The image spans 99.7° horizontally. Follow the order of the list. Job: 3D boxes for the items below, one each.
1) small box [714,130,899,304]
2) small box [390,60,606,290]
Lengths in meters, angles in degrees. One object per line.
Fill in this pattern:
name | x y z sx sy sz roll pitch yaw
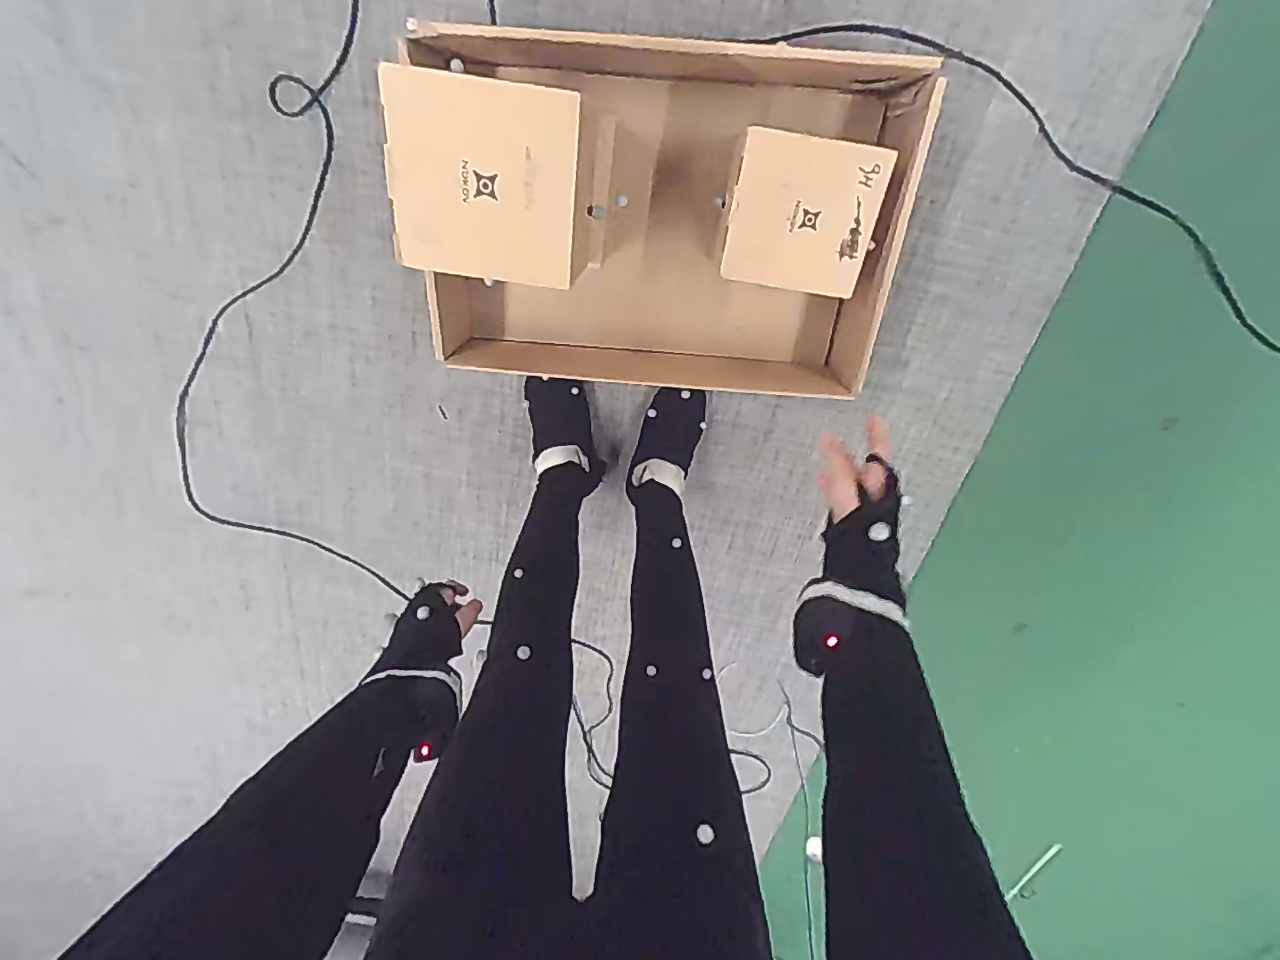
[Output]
small box | 0.201 -0.345 0.718 0.179 0.176 0.168 10 118 -2
small box | -0.137 -0.311 0.568 0.179 0.176 0.168 8 119 -3
